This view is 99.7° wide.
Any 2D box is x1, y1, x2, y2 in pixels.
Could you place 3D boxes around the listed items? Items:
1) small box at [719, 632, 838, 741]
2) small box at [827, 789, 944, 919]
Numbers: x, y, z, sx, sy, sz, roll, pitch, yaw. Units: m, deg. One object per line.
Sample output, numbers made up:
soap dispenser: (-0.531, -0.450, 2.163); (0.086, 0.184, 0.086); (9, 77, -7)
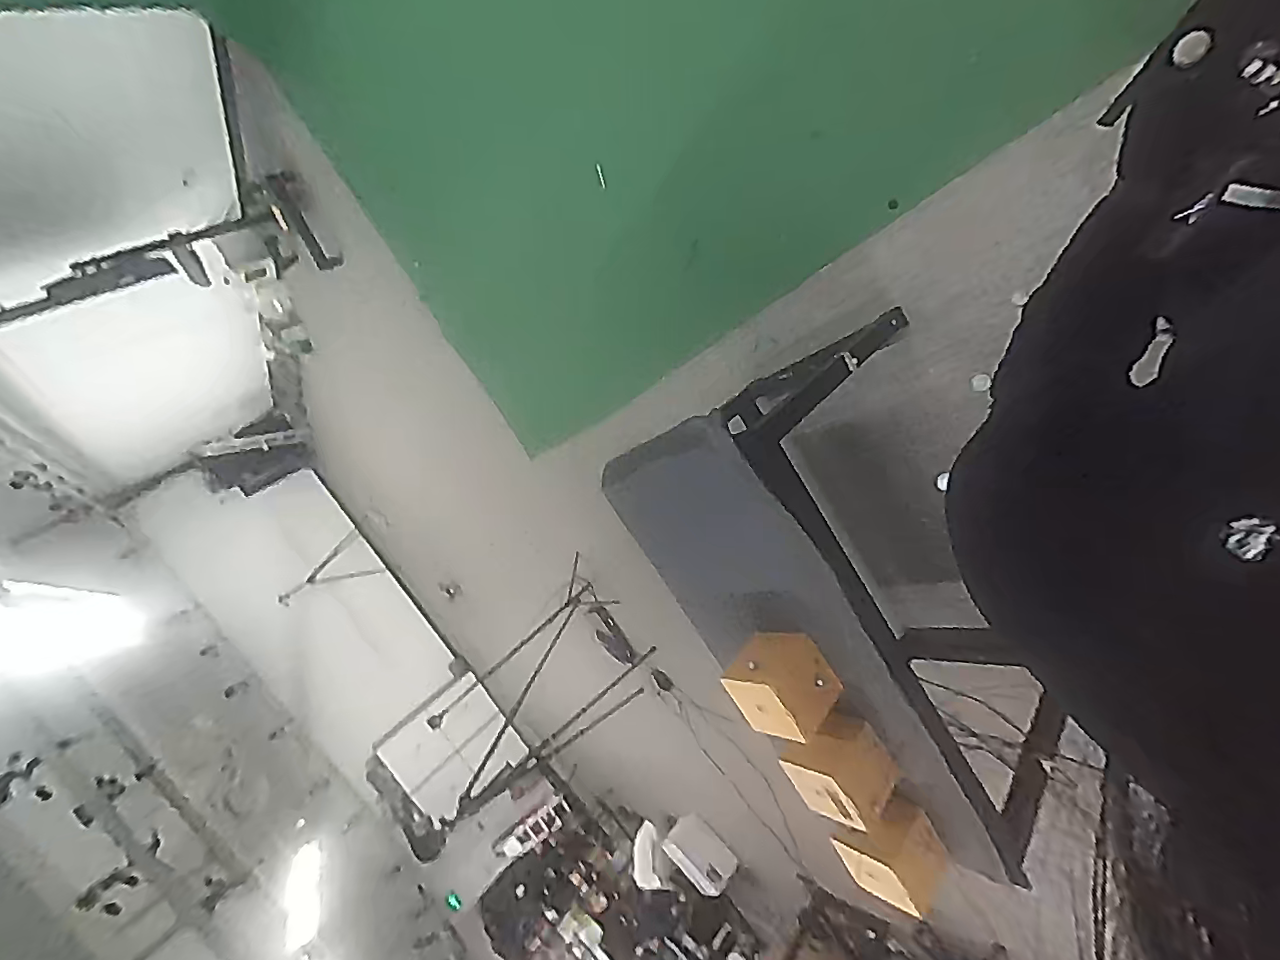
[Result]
small box: (0.328, 0.476, 1.274); (0.168, 0.176, 0.179); (57, 146, -6)
small box: (0.603, 0.901, 1.325); (0.179, 0.176, 0.168); (-16, 107, 57)
